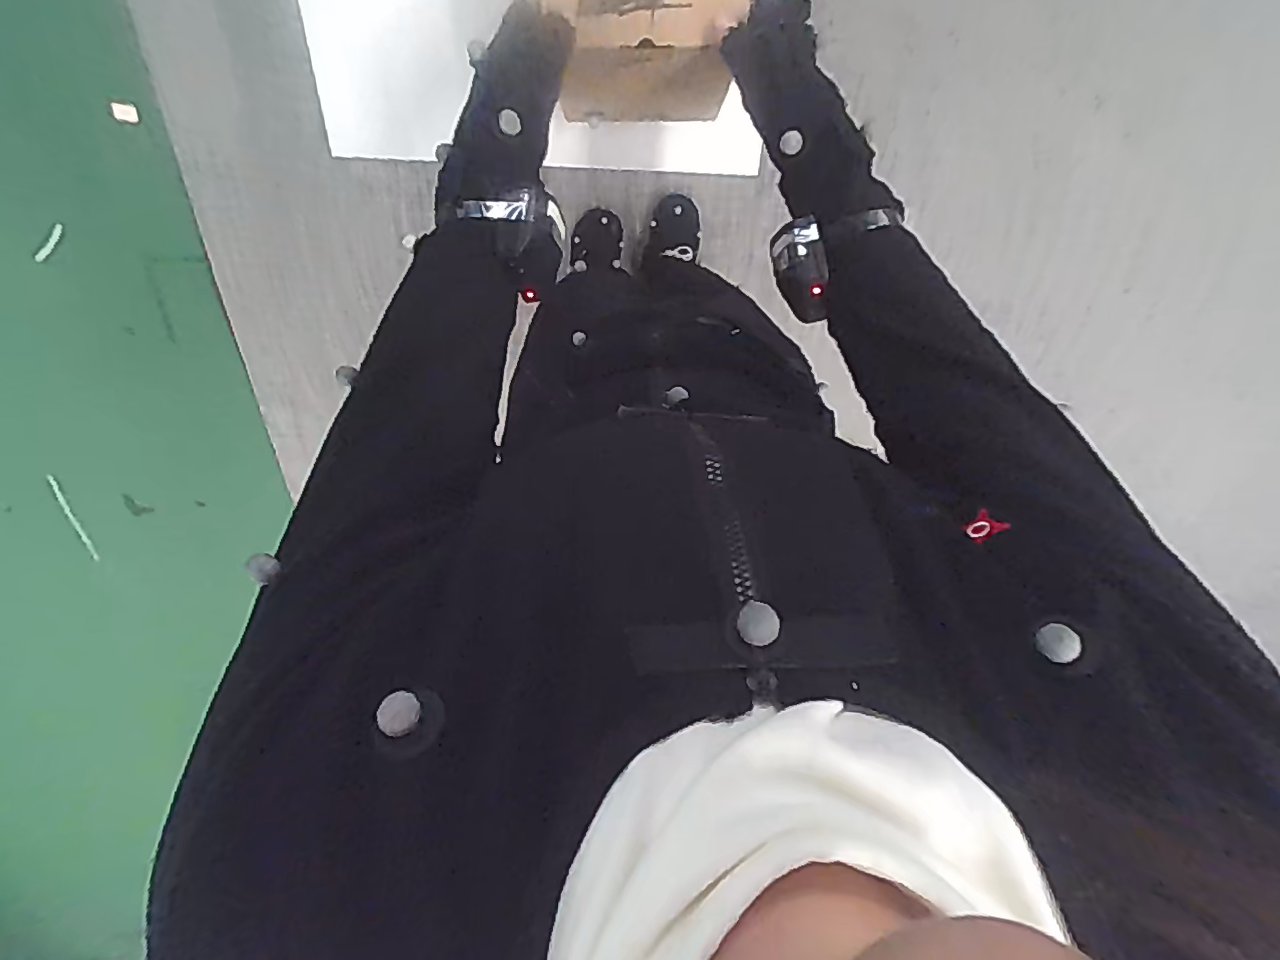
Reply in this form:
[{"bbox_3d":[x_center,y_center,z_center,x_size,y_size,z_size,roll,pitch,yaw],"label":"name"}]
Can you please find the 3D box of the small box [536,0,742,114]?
[{"bbox_3d":[-0.001,-0.455,0.486,0.168,0.176,0.179,-1,104,-1],"label":"small box"}]
